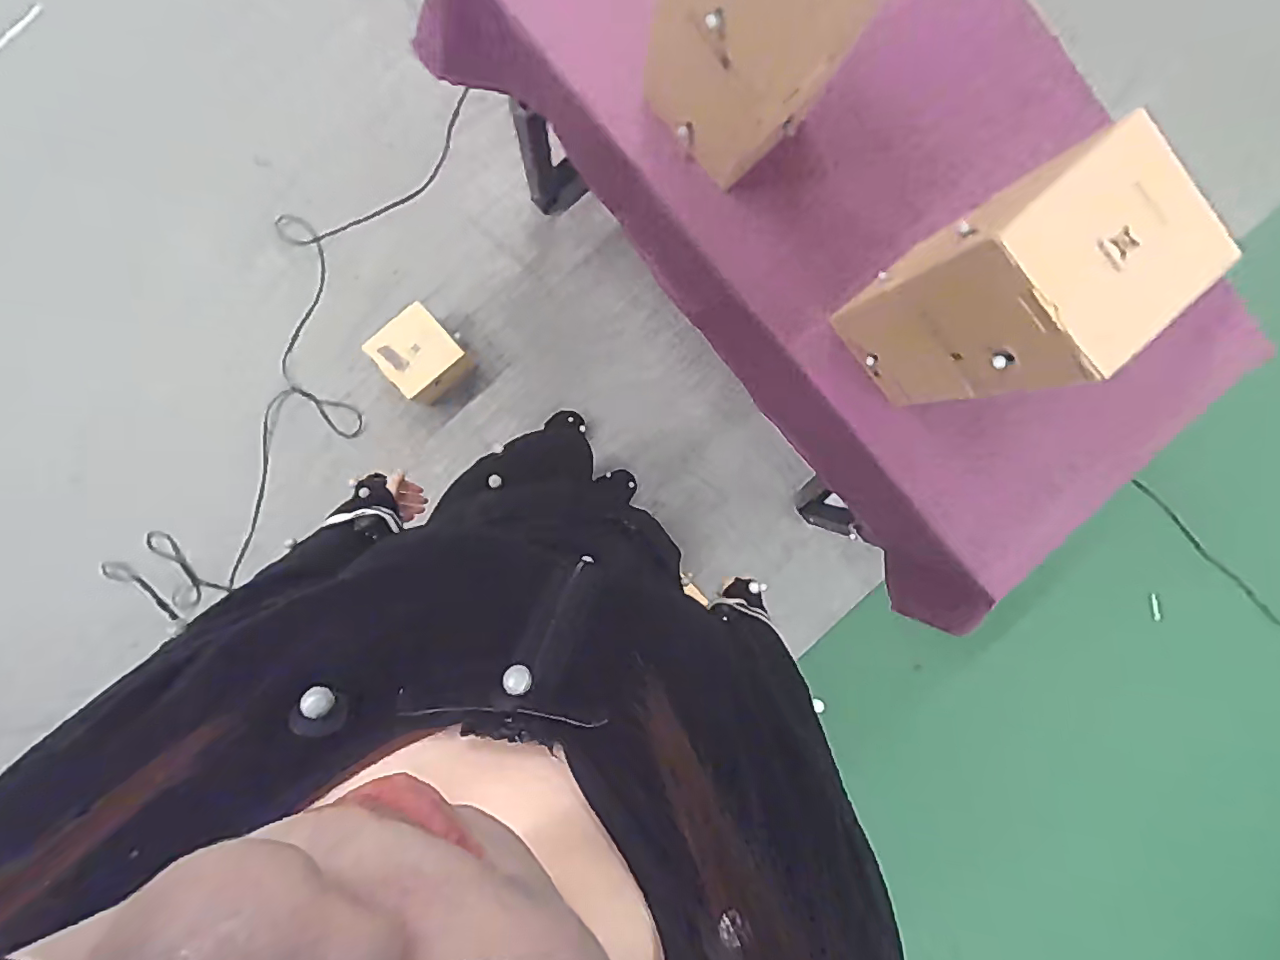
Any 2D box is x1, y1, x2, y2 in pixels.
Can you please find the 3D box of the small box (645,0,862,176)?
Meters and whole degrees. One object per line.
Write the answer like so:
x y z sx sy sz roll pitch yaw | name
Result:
0.128 -0.518 0.674 0.168 0.176 0.179 -43 98 -2 | small box

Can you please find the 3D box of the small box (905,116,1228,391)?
0.412 -0.210 0.560 0.179 0.176 0.168 -41 97 -2 | small box

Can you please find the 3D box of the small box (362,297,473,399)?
-0.544 -0.319 1.353 0.179 0.176 0.168 -41 97 -3 | small box
